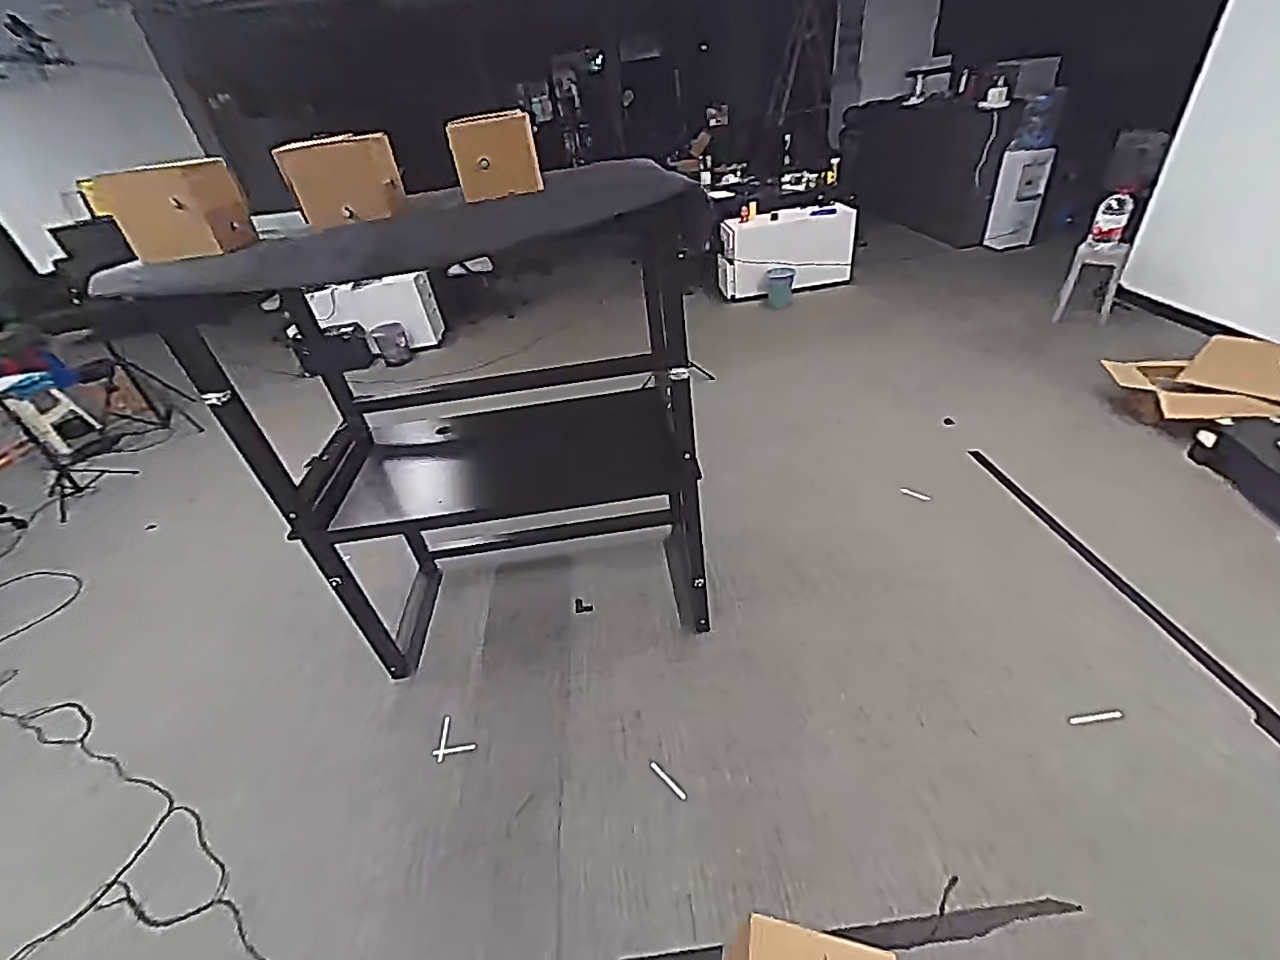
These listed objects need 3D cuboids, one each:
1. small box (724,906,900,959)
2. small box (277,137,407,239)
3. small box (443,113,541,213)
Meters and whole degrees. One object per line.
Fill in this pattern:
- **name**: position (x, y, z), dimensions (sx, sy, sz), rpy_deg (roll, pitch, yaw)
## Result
- **small box**: position (0.179, 0.610, 0.583), dimensions (0.168, 0.176, 0.179), rpy_deg (12, 37, 6)
- **small box**: position (-0.638, -0.642, 1.187), dimensions (0.179, 0.176, 0.168), rpy_deg (-9, 35, -2)
- **small box**: position (-0.323, -0.711, 1.217), dimensions (0.168, 0.176, 0.179), rpy_deg (-11, 35, -2)
